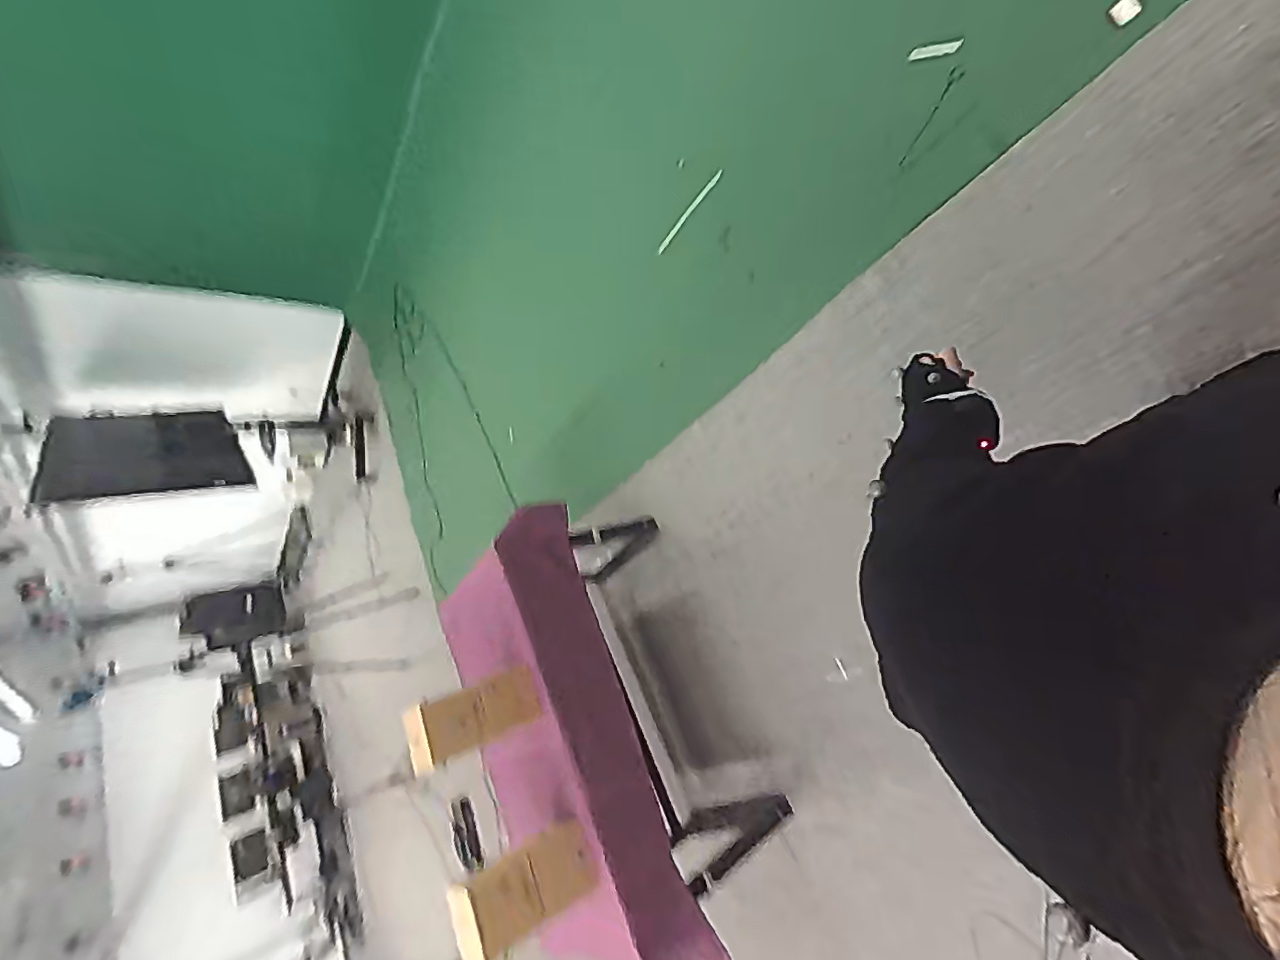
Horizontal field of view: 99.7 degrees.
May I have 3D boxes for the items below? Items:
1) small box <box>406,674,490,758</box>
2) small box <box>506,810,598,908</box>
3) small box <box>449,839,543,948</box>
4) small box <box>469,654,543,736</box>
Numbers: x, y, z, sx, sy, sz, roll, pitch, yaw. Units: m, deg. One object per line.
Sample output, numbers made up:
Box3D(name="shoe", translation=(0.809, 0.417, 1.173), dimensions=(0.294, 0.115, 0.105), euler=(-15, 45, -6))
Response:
Box3D(name="small box", translation=(-0.546, 0.674, 1.552), dimensions=(0.179, 0.176, 0.168), euler=(-37, 67, 45))
Box3D(name="small box", translation=(-0.245, 1.047, 1.511), dimensions=(0.168, 0.176, 0.179), euler=(-41, 64, 43))
Box3D(name="small box", translation=(-0.370, 1.063, 1.406), dimensions=(0.179, 0.176, 0.168), euler=(-39, 66, 44))
Box3D(name="small box", translation=(-0.421, 0.657, 1.657), dimensions=(0.168, 0.176, 0.179), euler=(-40, 66, 44))
